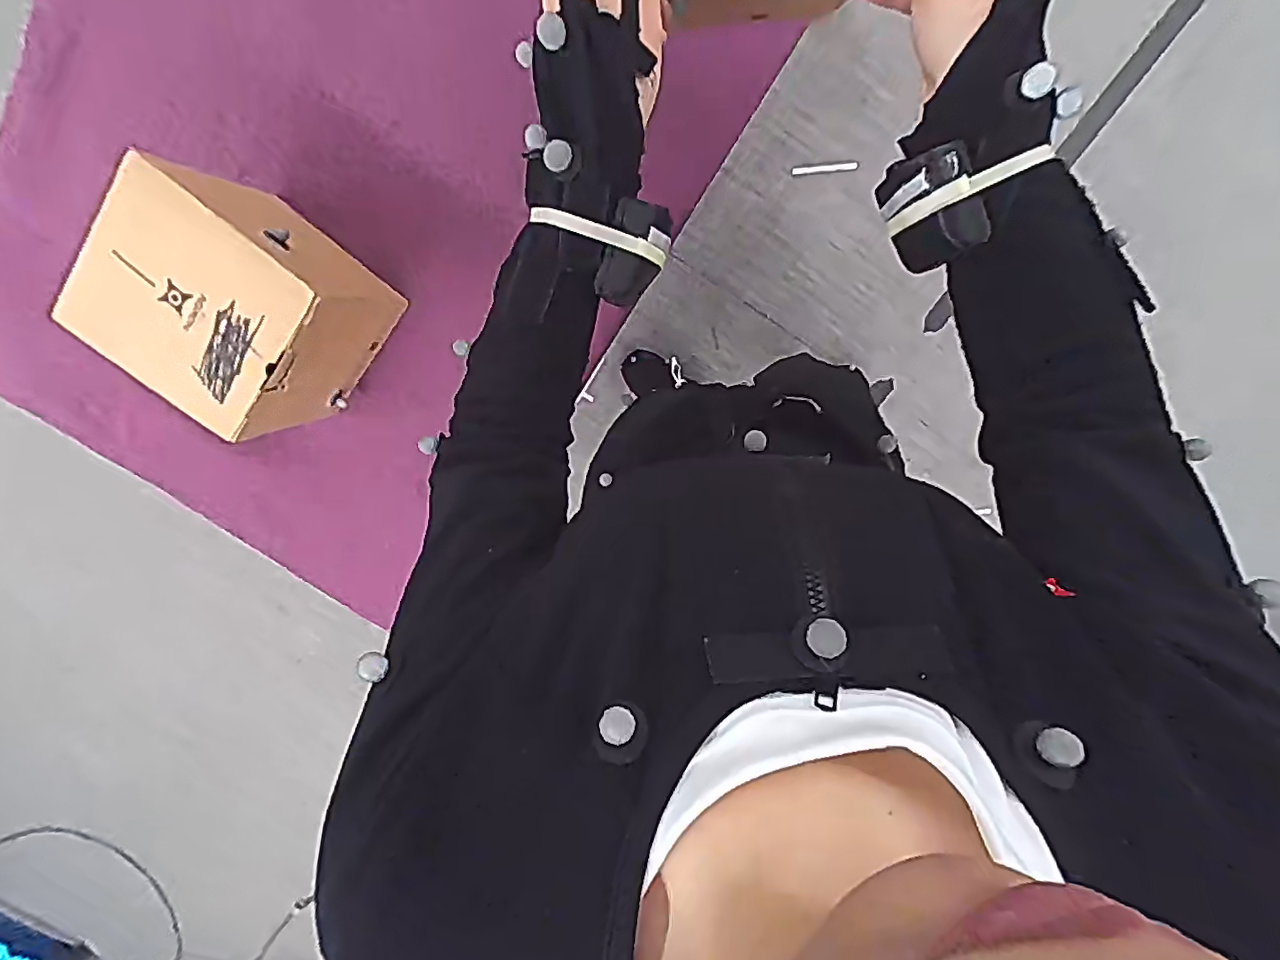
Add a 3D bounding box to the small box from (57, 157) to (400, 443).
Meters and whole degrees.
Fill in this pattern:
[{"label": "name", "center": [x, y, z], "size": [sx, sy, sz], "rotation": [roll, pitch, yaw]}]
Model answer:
[{"label": "small box", "center": [-0.377, -0.165, 0.530], "size": [0.179, 0.176, 0.168], "rotation": [39, 103, -7]}]
